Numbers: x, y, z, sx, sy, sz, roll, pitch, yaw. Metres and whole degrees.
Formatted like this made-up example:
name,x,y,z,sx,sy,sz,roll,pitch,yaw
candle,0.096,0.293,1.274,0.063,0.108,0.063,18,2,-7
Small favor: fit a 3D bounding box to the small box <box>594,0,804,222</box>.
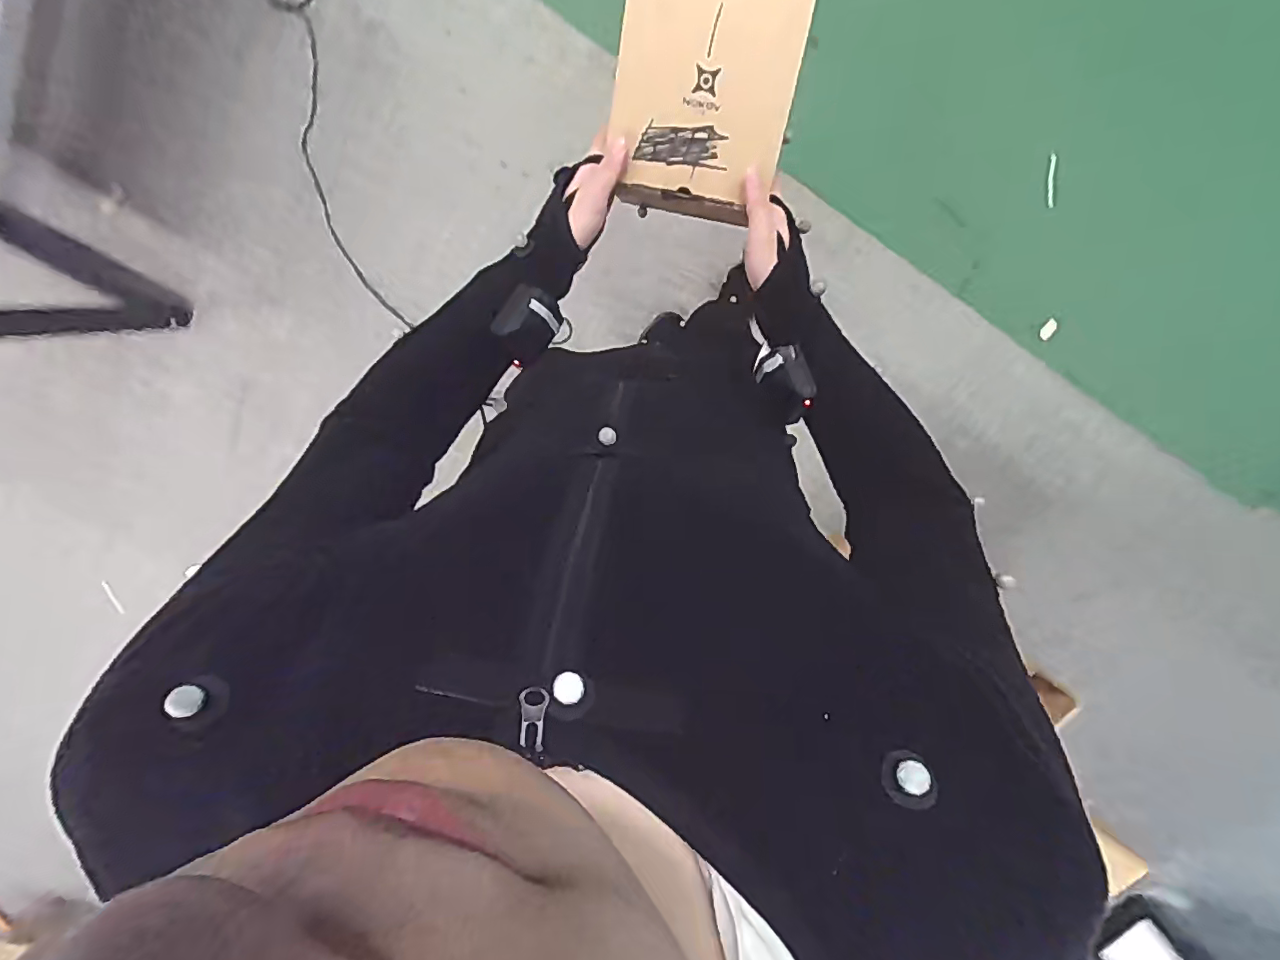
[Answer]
name,x,y,z,sx,sy,sz,roll,pitch,yaw
small box,0.056,-0.385,0.573,0.168,0.176,0.179,11,110,1
